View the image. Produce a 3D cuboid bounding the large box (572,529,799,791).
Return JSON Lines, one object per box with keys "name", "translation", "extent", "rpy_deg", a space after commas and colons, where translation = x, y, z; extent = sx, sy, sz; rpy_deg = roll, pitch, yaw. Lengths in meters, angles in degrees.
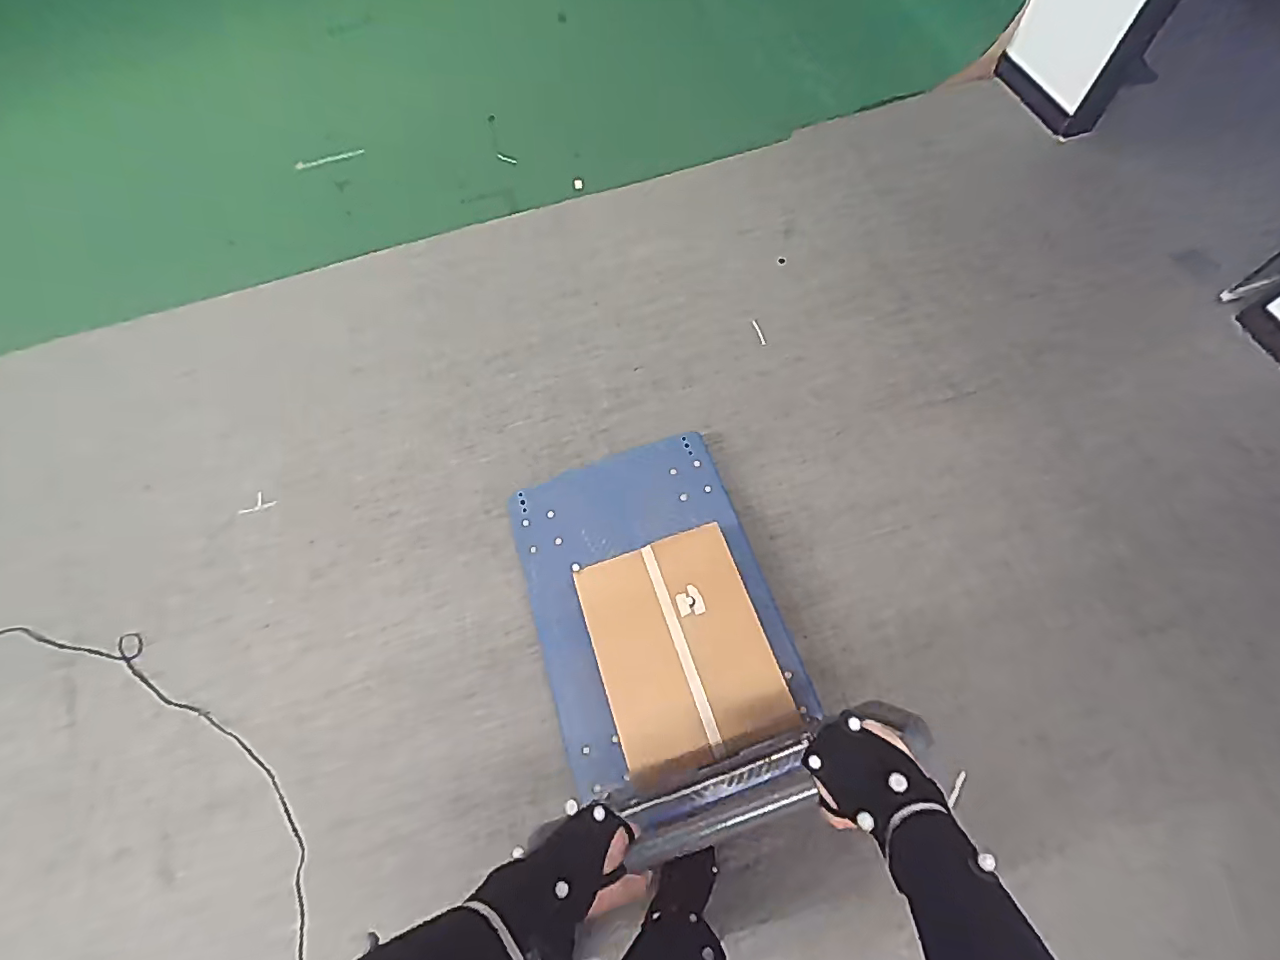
{"name": "large box", "translation": [0.086, 0.379, 1.145], "extent": [0.320, 0.320, 0.408], "rpy_deg": [-19, 64, -4]}
